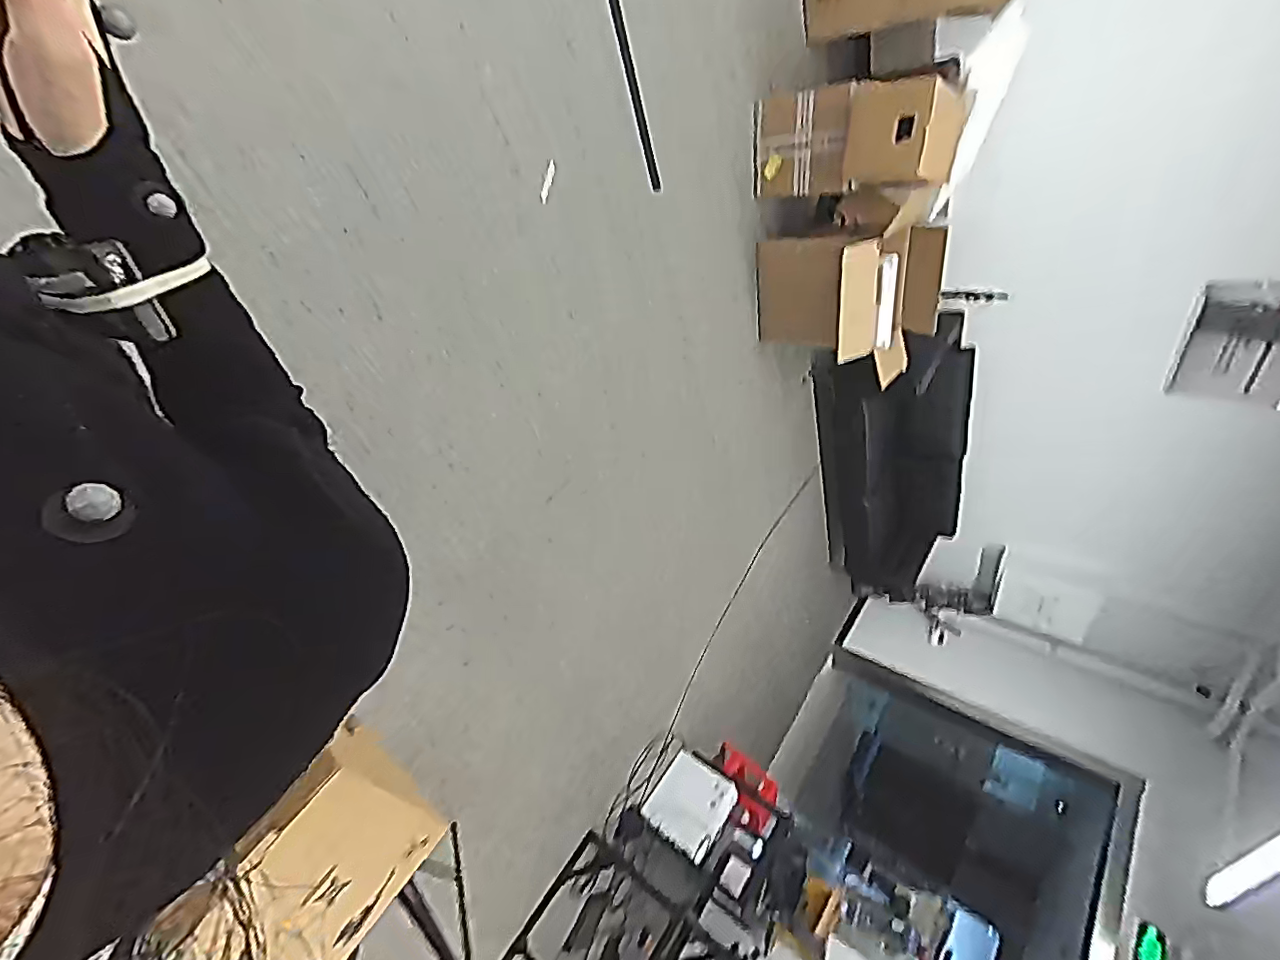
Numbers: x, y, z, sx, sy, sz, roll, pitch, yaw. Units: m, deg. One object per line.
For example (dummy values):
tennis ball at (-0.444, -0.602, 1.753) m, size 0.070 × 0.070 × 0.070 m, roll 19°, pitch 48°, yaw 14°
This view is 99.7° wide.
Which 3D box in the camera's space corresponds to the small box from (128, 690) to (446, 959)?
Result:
small box at (-0.336, 0.334, 0.524) m, size 0.168 × 0.176 × 0.179 m, roll -48°, pitch 135°, yaw -28°
